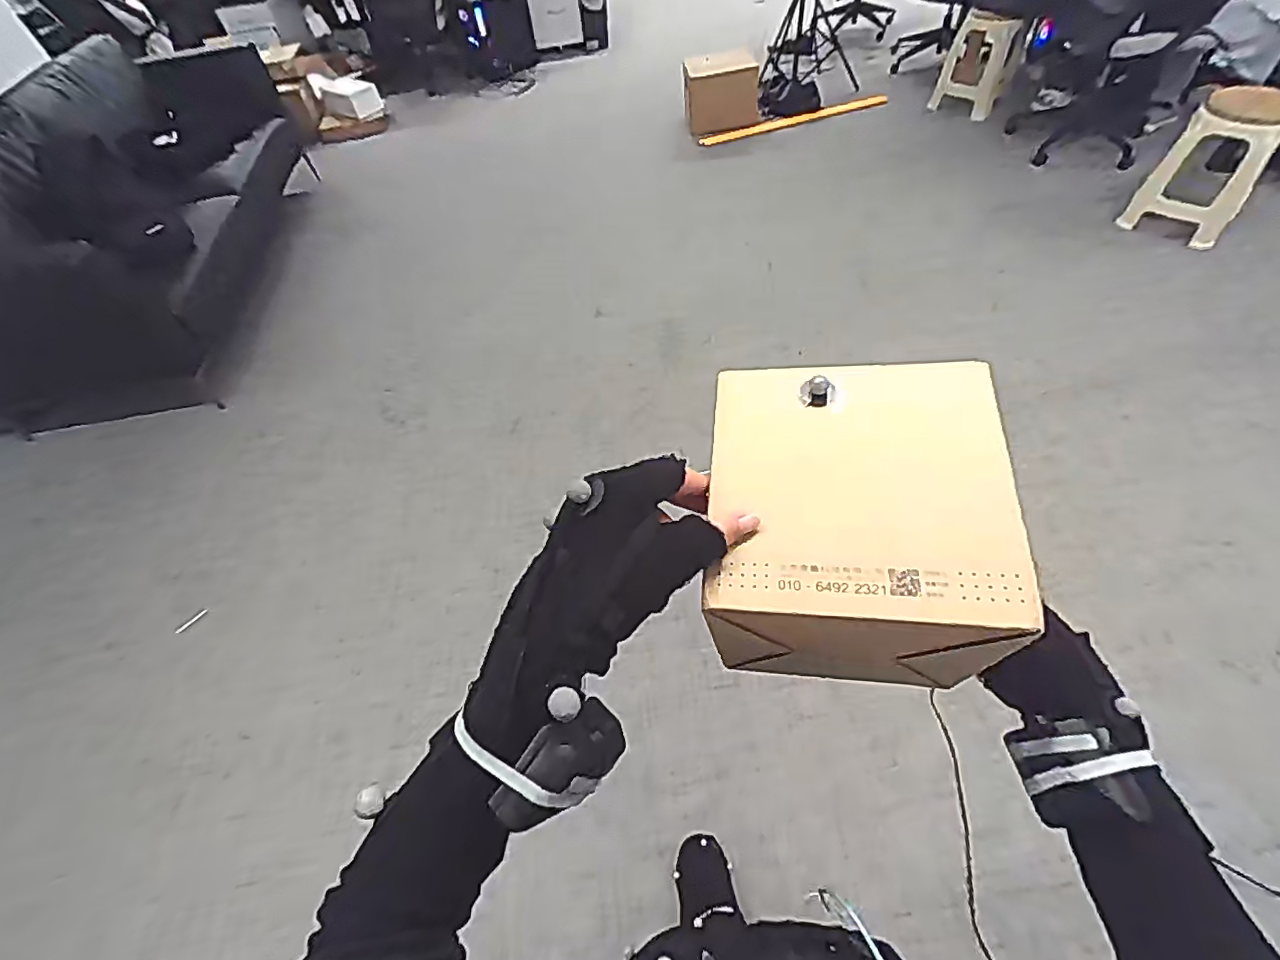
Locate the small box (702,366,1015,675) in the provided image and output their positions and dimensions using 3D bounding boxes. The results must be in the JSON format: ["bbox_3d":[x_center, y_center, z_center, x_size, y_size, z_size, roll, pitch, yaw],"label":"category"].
[{"bbox_3d":[0.139,0.041,0.395,0.168,0.179,0.176,-1,60,14],"label":"small box"}]
